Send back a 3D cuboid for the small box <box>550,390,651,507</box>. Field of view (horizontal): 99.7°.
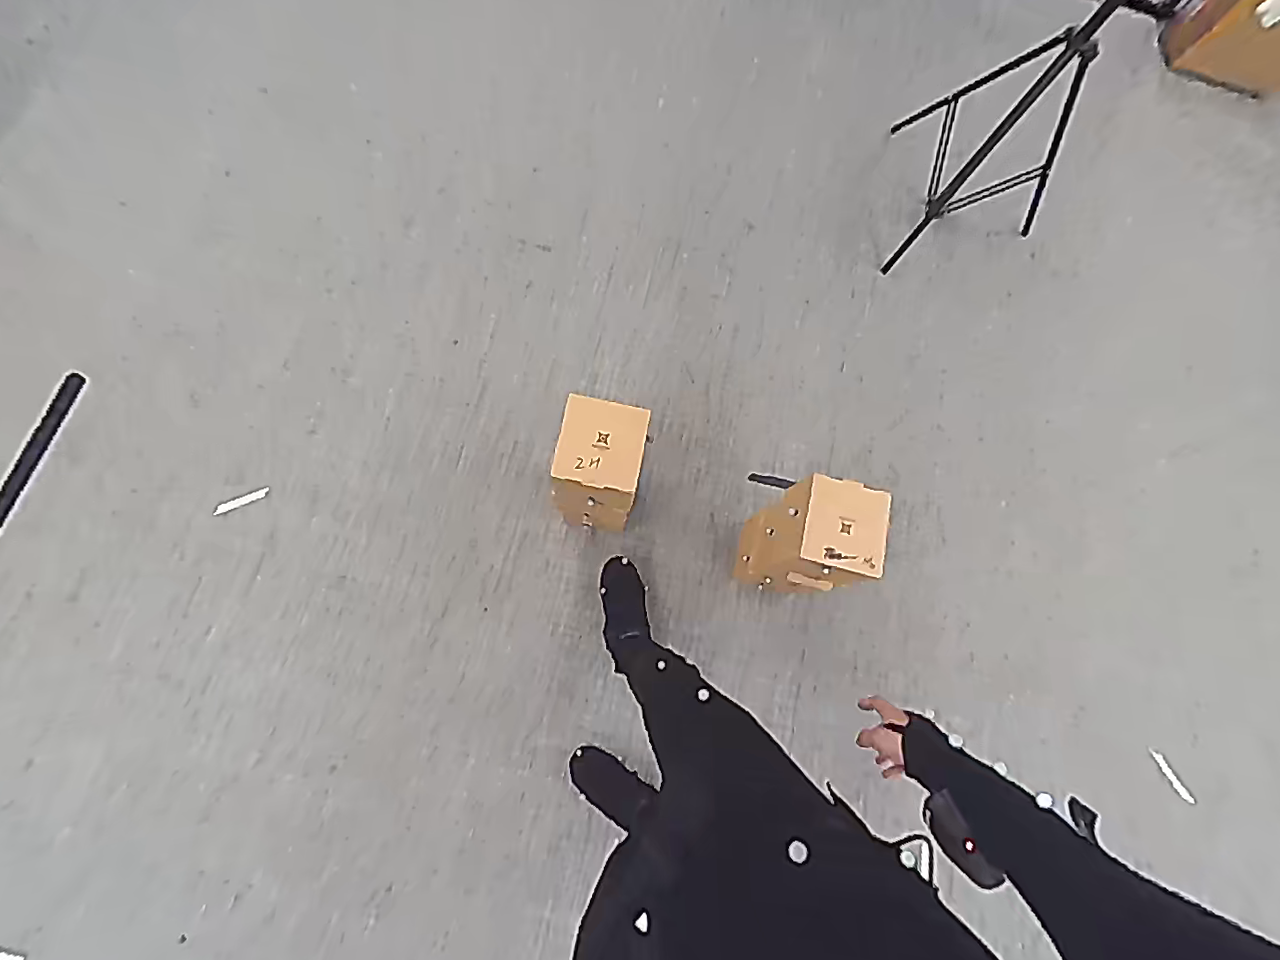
[{"bbox_3d":[-0.081,-0.057,1.112,0.168,0.176,0.179,12,75,-2],"label":"small box"}]

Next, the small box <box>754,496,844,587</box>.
[{"bbox_3d":[0.382,0.149,1.281,0.168,0.176,0.179,16,74,-3],"label":"small box"}]

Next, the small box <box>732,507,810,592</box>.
[{"bbox_3d":[0.356,0.189,1.438,0.168,0.176,0.179,16,75,-2],"label":"small box"}]

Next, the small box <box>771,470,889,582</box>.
[{"bbox_3d":[0.387,0.102,1.122,0.168,0.176,0.179,16,74,-2],"label":"small box"}]

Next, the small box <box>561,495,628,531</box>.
[{"bbox_3d":[-0.108,0.023,1.429,0.168,0.176,0.179,12,74,-2],"label":"small box"}]
